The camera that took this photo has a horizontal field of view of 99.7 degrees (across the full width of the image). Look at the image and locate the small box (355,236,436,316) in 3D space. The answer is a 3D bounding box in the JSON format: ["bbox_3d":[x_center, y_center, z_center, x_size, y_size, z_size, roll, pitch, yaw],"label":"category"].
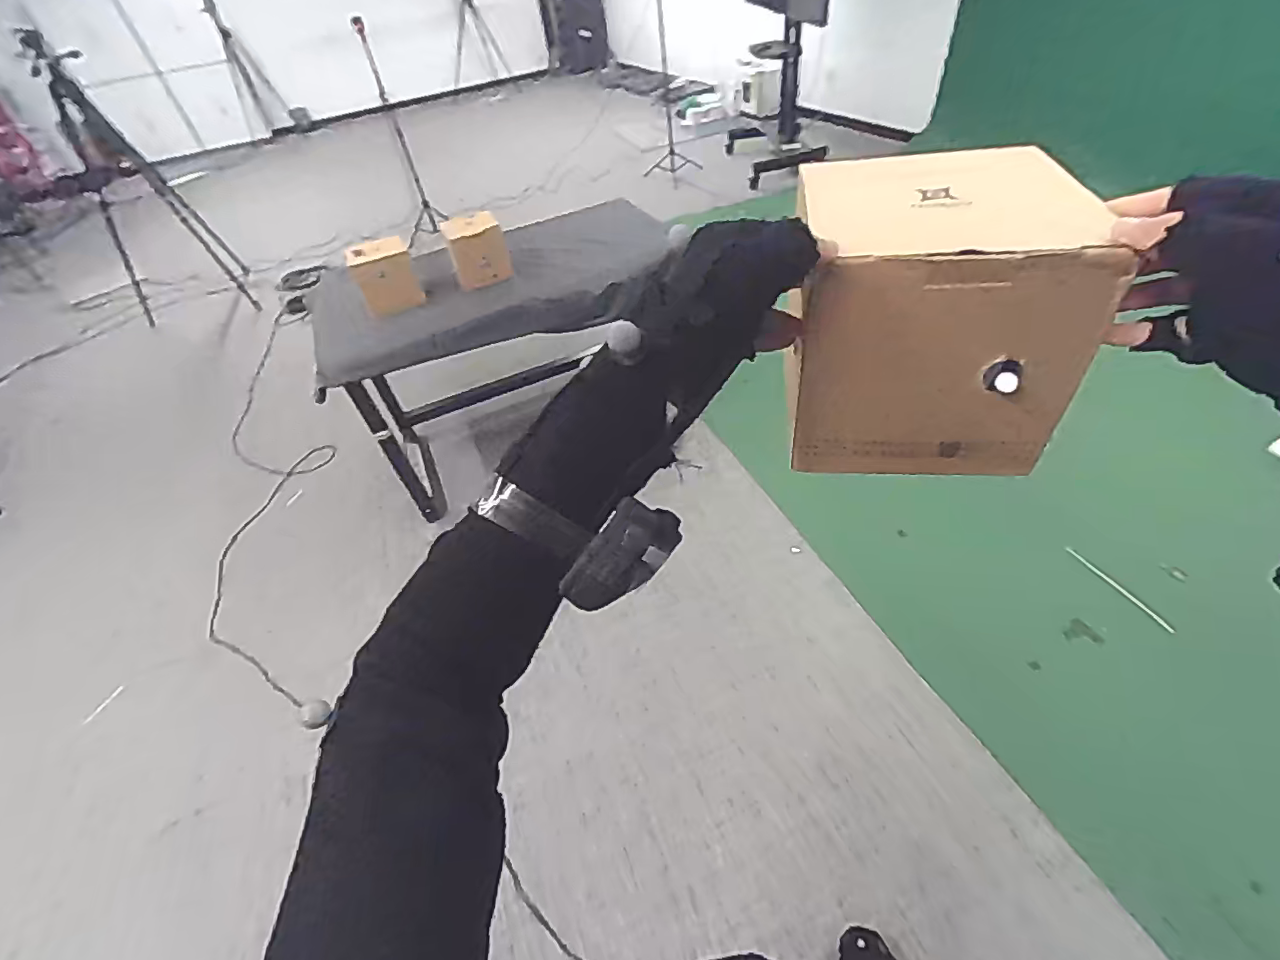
[{"bbox_3d":[-0.769,-0.642,1.708,0.179,0.176,0.168,-23,46,-14],"label":"small box"}]

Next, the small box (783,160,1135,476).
[{"bbox_3d":[0.200,-0.117,0.407,0.168,0.176,0.179,1,44,10],"label":"small box"}]

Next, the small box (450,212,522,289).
[{"bbox_3d":[-0.502,-0.746,1.769,0.168,0.176,0.179,-22,46,-12],"label":"small box"}]
